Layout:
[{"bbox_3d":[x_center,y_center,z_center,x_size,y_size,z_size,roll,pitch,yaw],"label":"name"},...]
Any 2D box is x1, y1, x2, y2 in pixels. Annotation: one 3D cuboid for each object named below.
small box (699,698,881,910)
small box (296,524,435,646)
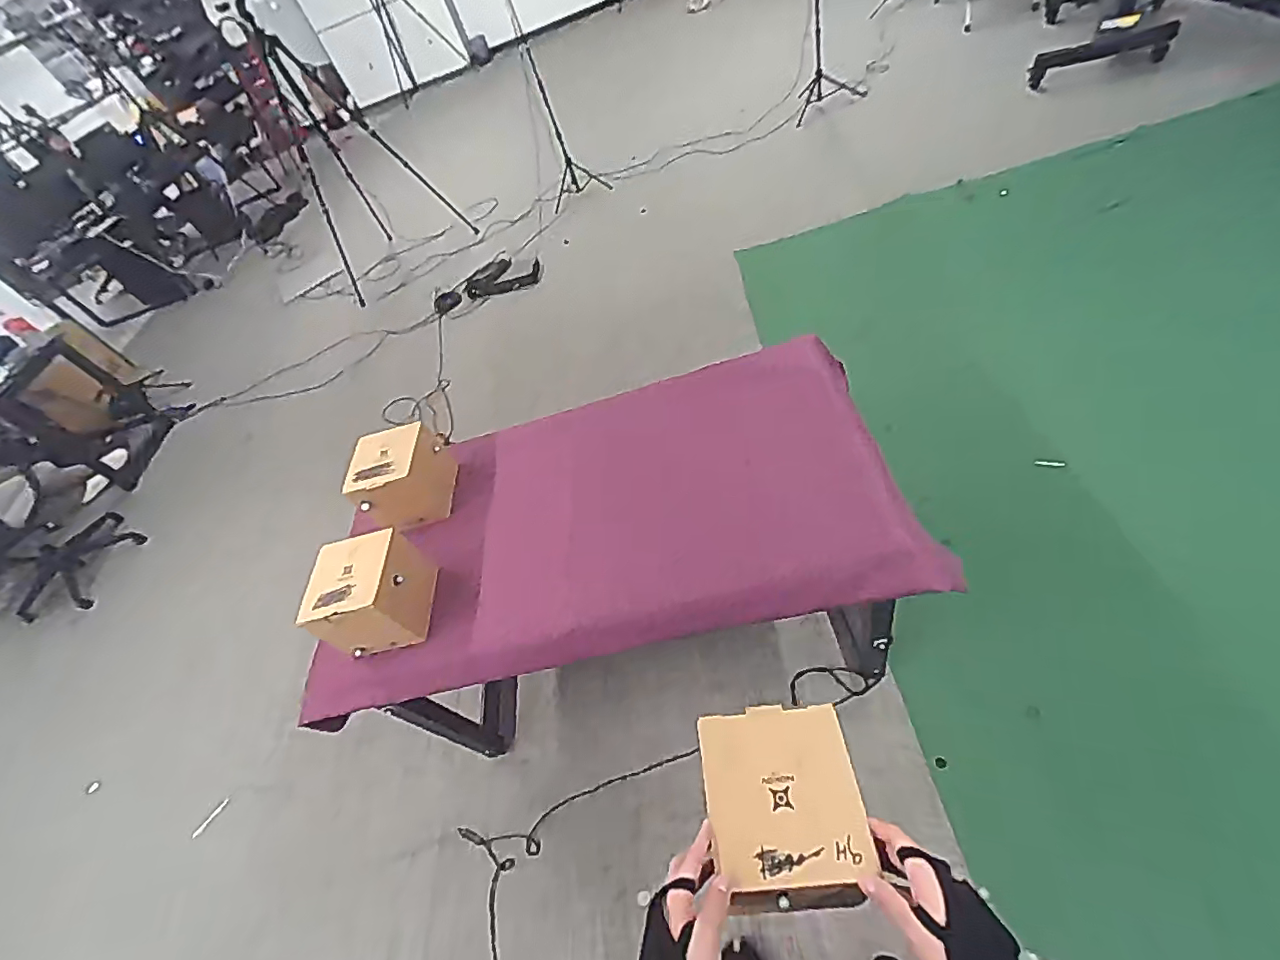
[{"bbox_3d":[0.164,0.387,0.647,0.168,0.176,0.179,-8,44,5],"label":"small box"},{"bbox_3d":[-0.535,0.219,1.084,0.168,0.176,0.179,-14,49,8],"label":"small box"}]
